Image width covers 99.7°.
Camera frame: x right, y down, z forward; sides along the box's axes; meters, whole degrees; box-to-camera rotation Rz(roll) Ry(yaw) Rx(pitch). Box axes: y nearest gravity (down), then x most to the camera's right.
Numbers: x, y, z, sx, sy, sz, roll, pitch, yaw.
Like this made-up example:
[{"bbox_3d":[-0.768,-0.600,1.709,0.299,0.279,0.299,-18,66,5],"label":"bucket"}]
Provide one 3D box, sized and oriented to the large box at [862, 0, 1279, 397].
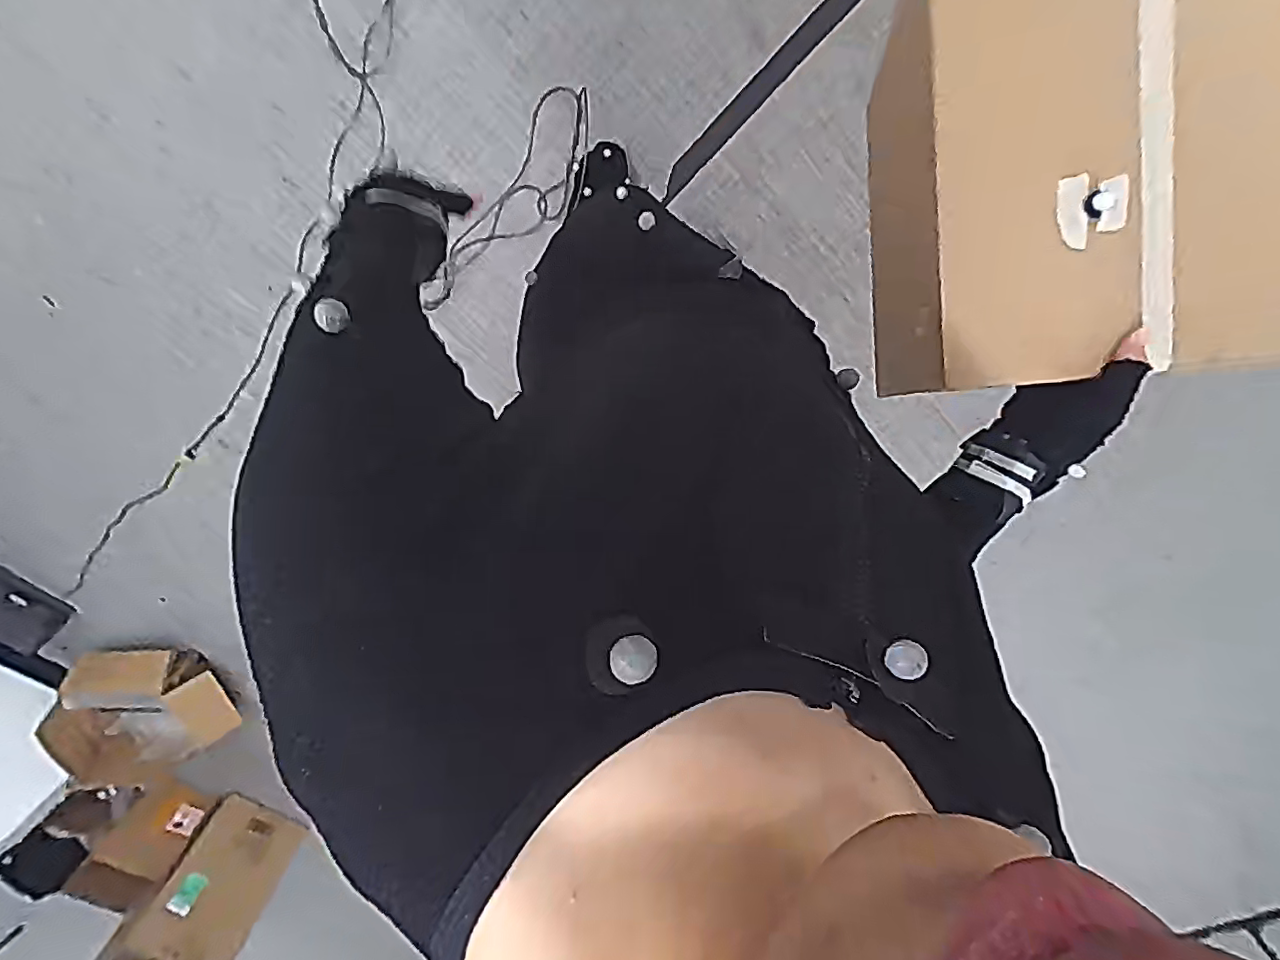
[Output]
[{"bbox_3d":[0.438,-0.307,0.585,0.320,0.320,0.408,-3,96,14],"label":"large box"}]
